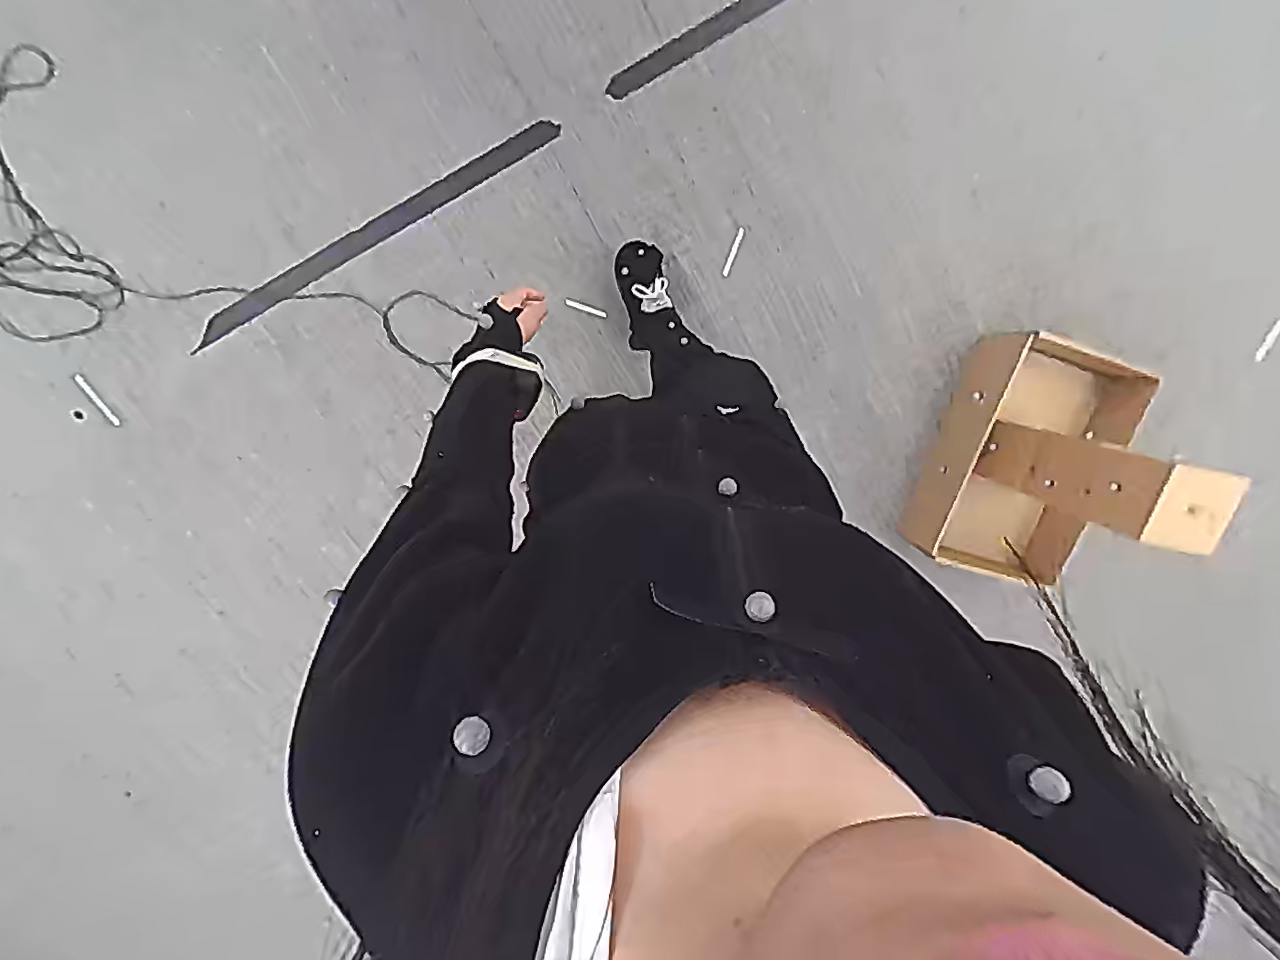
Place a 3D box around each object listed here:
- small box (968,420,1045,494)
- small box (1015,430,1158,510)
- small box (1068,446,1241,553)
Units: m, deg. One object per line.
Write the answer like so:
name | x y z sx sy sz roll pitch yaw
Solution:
small box | 1.041 -0.055 1.457 0.179 0.176 0.168 15 104 -9
small box | 1.060 -0.016 1.301 0.179 0.176 0.168 10 106 -9
small box | 1.071 0.035 1.143 0.179 0.176 0.168 11 106 -8
